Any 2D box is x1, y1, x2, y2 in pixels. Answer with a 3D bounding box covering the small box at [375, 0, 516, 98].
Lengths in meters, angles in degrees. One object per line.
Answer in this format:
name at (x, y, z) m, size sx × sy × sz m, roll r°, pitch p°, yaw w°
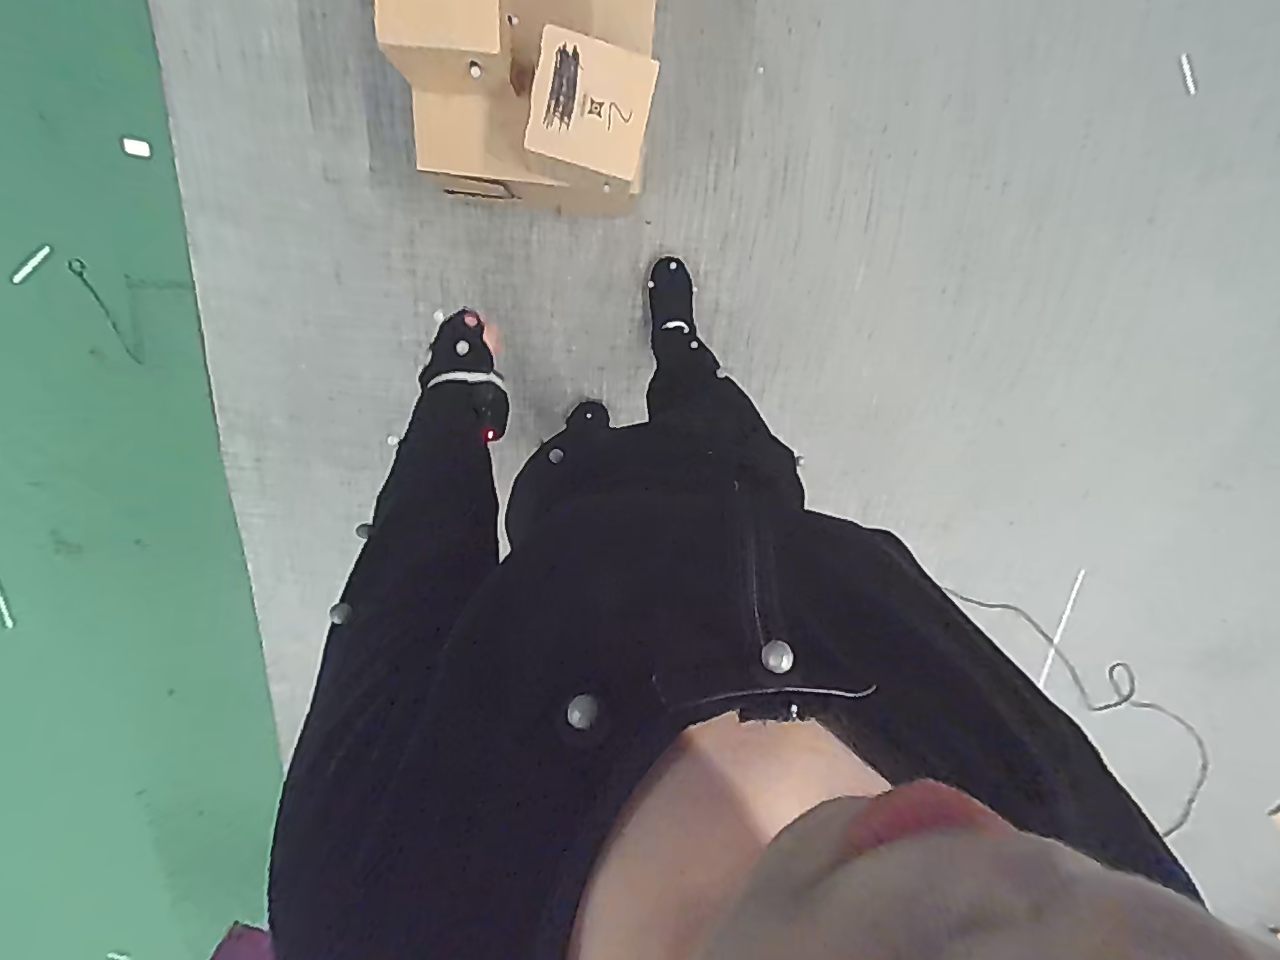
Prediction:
small box at (-0.286, -0.712, 0.826) m, size 0.179 × 0.176 × 0.168 m, roll 2°, pitch 106°, yaw -5°
